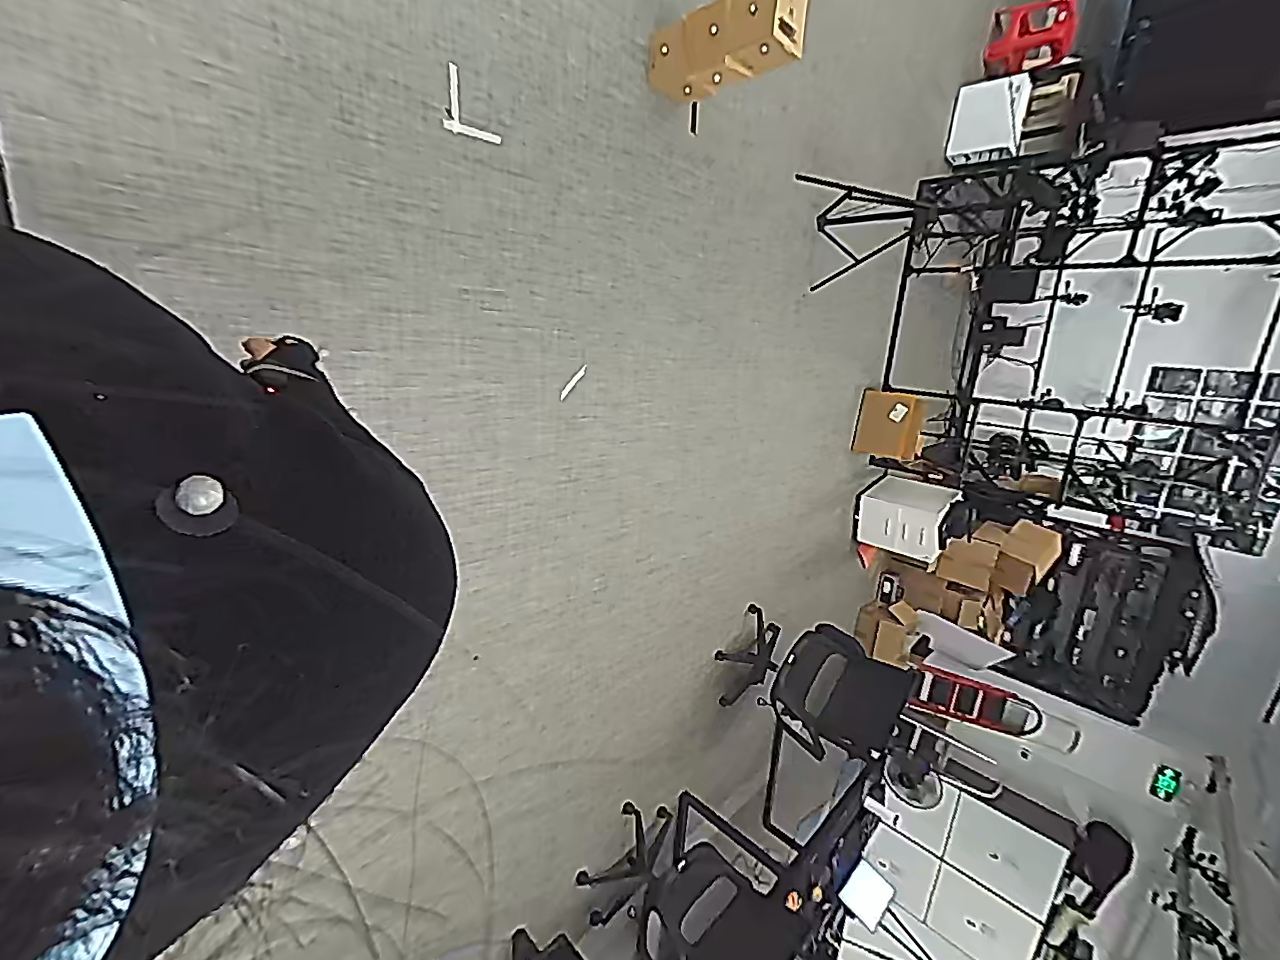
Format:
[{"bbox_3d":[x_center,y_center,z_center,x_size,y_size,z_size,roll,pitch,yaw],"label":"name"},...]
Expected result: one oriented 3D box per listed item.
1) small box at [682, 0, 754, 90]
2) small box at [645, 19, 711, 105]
[{"bbox_3d":[0.249,-1.400,1.751,0.168,0.176,0.179,-19,115,-43],"label":"small box"},{"bbox_3d":[0.138,-1.432,1.866,0.179,0.176,0.168,-7,109,-47],"label":"small box"}]
